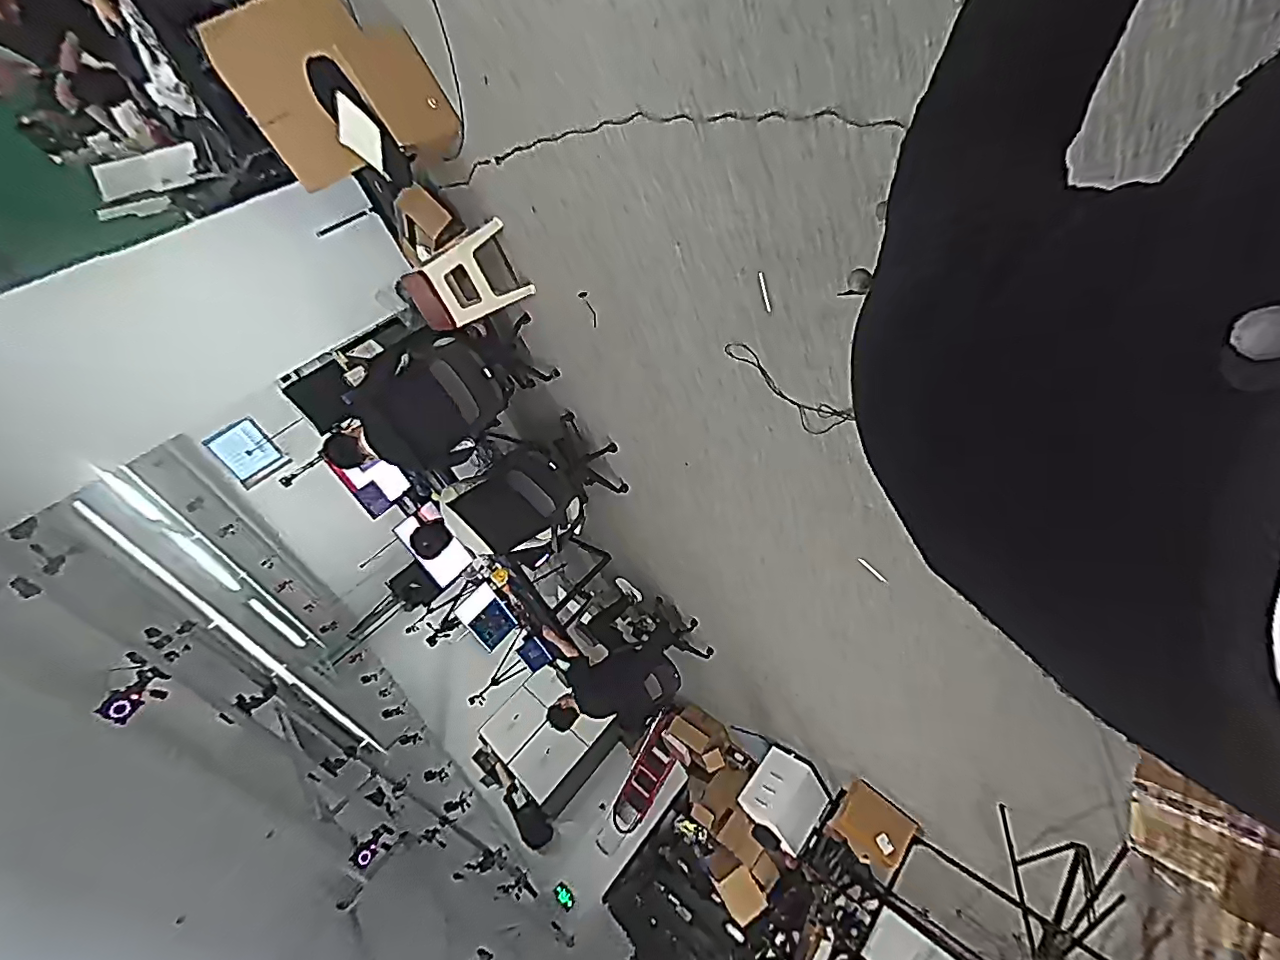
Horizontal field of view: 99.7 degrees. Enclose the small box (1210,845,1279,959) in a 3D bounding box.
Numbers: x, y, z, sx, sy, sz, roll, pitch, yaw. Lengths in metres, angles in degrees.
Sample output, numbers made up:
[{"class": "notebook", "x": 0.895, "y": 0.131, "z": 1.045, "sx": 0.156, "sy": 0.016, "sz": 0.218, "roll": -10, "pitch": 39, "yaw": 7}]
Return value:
[{"class": "small box", "x": 1.488, "y": 1.023, "z": 1.277, "sx": 0.168, "sy": 0.176, "sz": 0.179, "roll": 11, "pitch": 133, "yaw": 49}]
